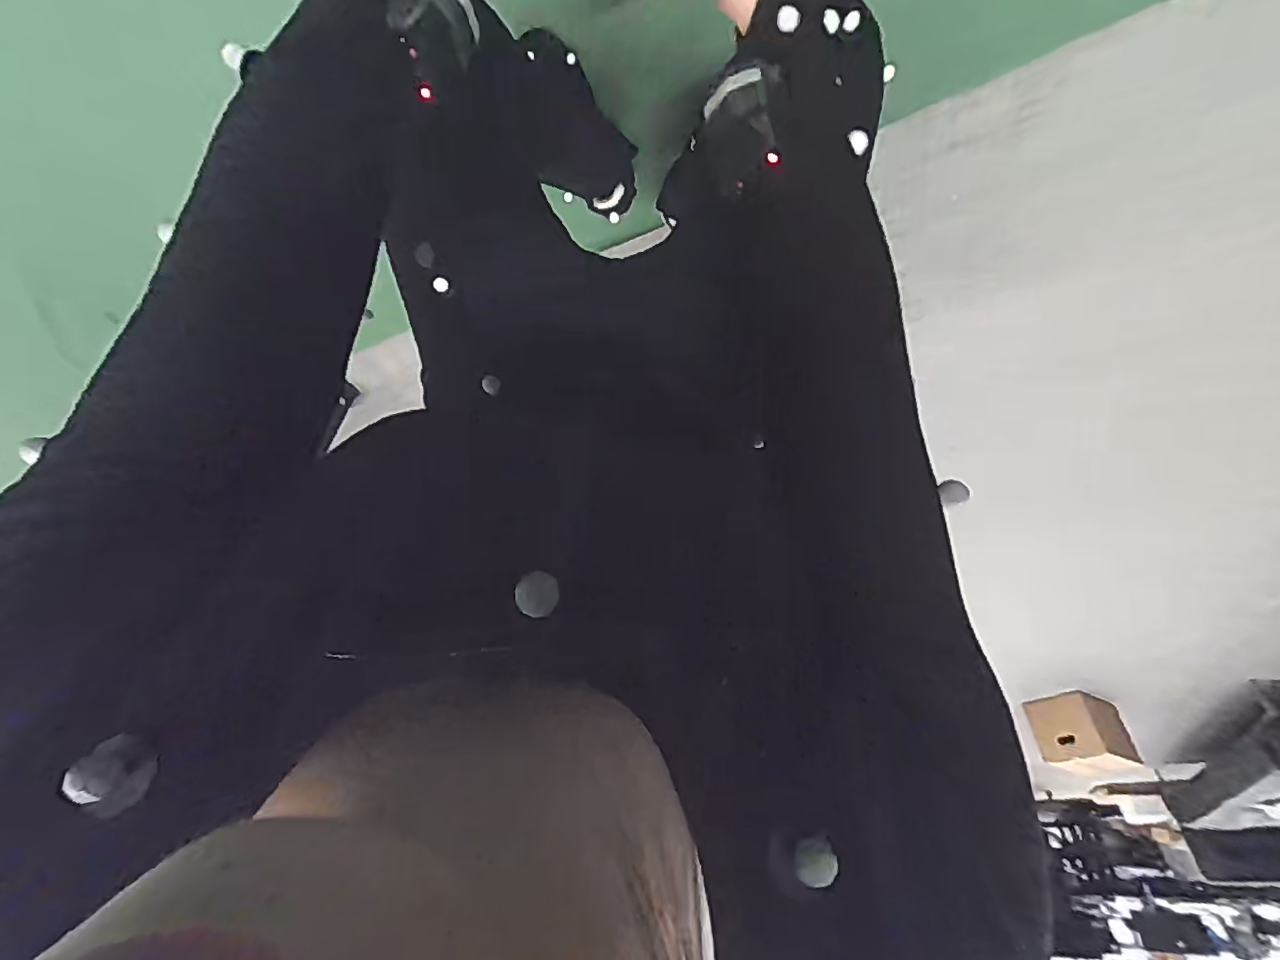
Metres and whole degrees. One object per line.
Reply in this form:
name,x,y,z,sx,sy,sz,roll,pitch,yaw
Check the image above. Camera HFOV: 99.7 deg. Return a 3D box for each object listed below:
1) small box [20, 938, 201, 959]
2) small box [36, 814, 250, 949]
small box,-0.819,0.787,0.795,0.168,0.176,0.179,-10,141,20
small box,-0.822,0.669,0.912,0.168,0.176,0.179,-13,141,24
